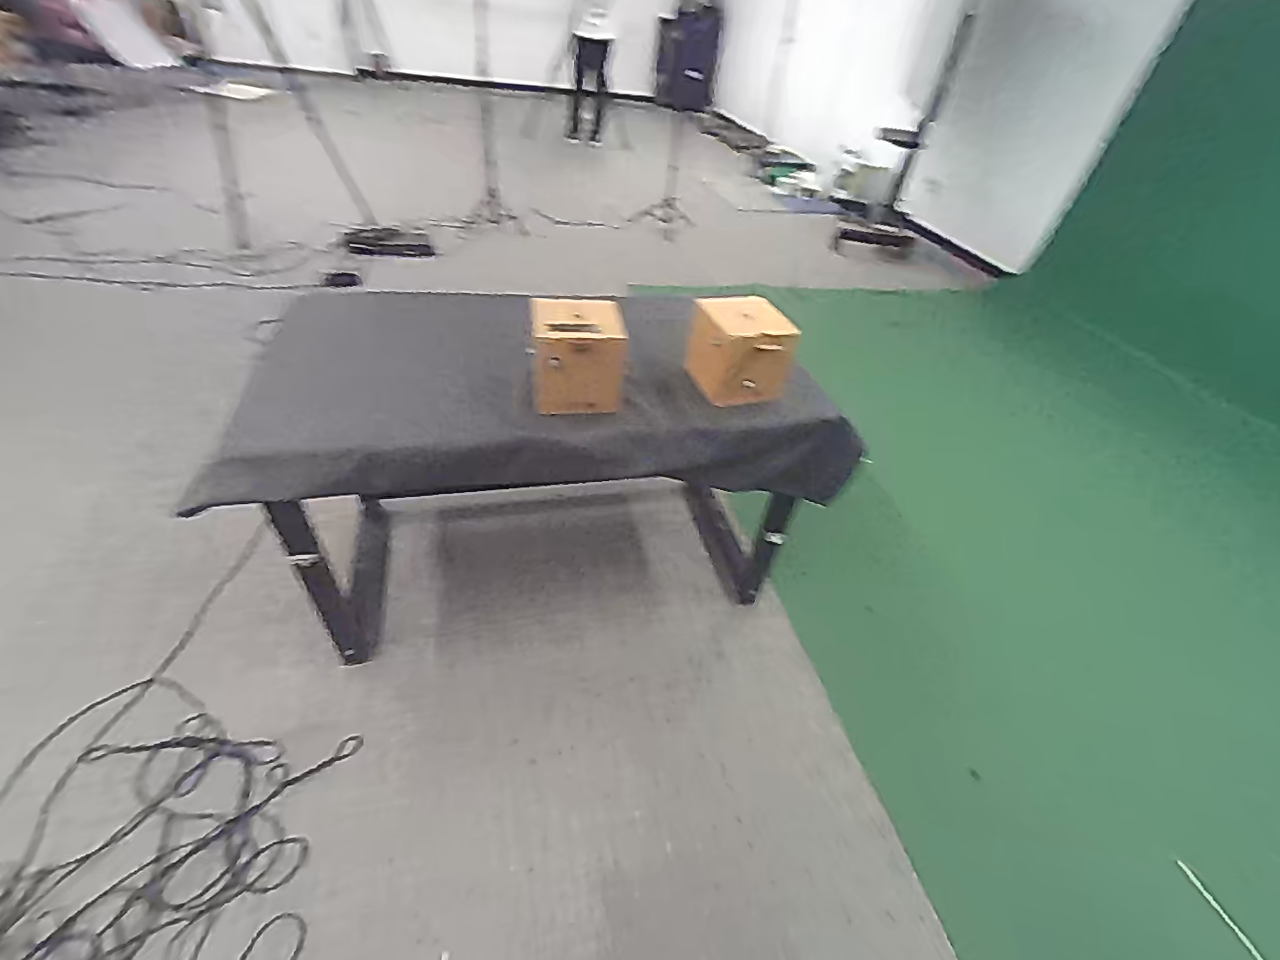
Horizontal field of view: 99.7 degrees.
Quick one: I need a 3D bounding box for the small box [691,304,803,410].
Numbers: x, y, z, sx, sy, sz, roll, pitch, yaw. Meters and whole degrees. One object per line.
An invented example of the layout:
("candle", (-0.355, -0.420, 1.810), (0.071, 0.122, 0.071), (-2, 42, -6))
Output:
("small box", (0.226, -0.275, 1.201), (0.168, 0.176, 0.179), (-8, 44, -18))
